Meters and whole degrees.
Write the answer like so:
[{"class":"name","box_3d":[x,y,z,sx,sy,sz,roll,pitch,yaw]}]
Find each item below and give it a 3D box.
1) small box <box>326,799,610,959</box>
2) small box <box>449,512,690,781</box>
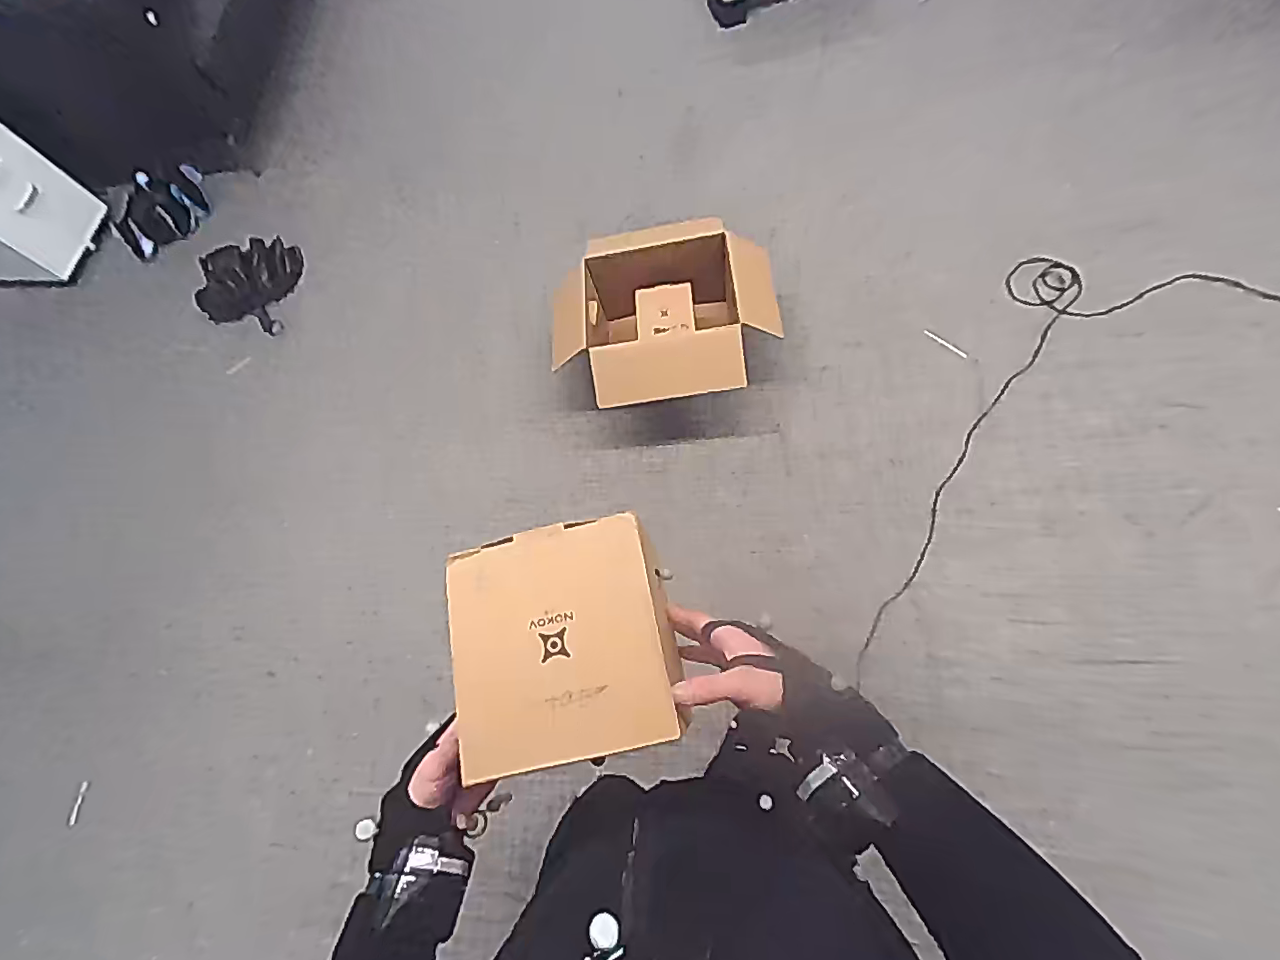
[{"class":"small box","box_3d":[-0.162,0.421,0.442,0.179,0.168,0.176,40,112,9]},{"class":"small box","box_3d":[-0.054,0.147,0.489,0.168,0.176,0.179,-14,70,4]}]
